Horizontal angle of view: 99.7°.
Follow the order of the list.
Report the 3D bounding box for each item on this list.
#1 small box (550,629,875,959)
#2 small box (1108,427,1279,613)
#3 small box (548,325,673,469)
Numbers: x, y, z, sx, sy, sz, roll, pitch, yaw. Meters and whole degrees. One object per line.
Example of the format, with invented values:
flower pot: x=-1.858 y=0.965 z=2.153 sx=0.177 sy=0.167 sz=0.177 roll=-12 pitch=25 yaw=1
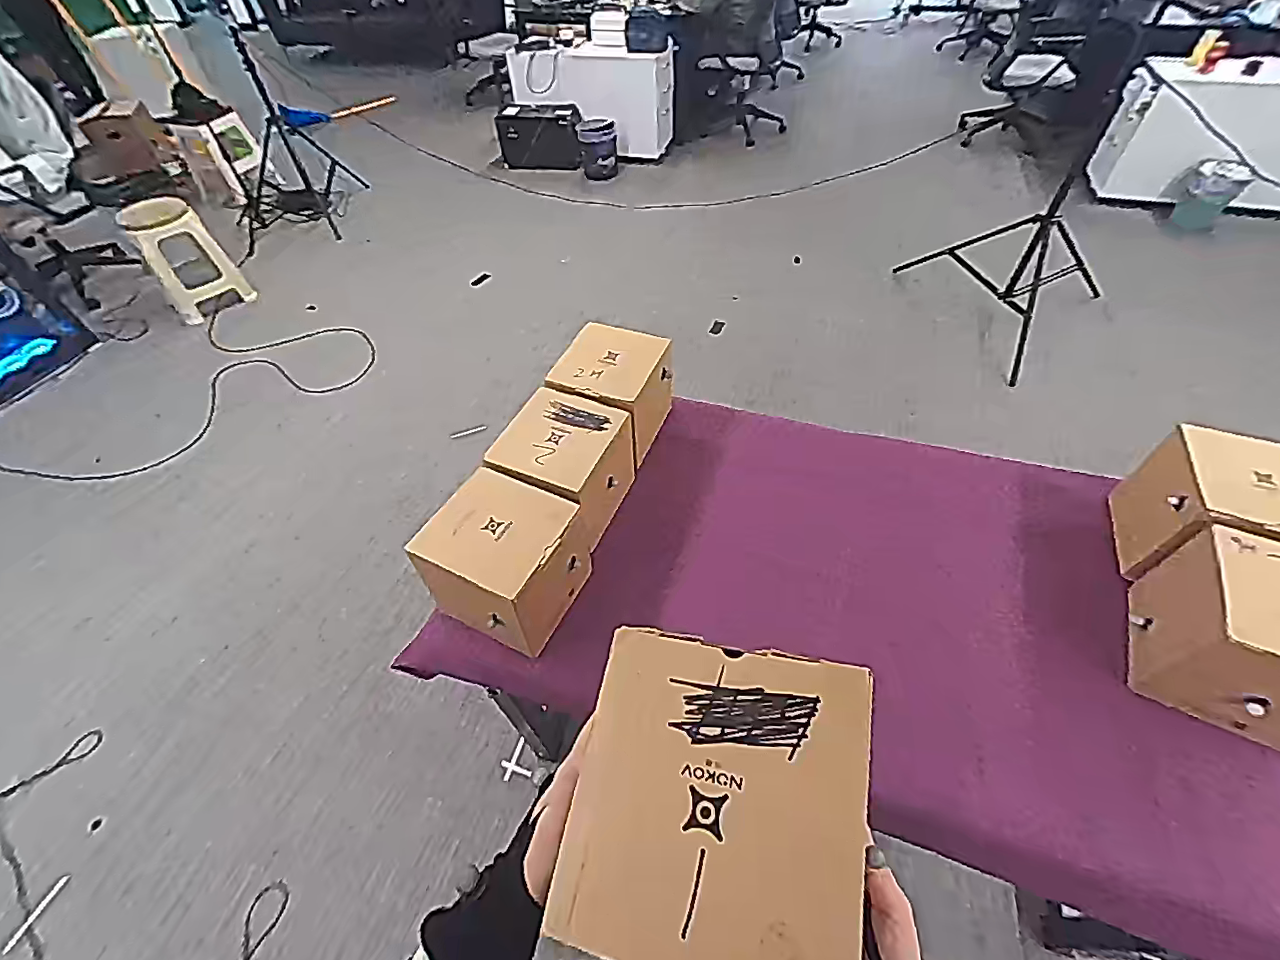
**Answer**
small box: x=0.065 y=0.225 z=0.378 sx=0.168 sy=0.176 sz=0.179 roll=4 pitch=60 yaw=21
small box: x=0.821 y=0.058 z=0.777 sx=0.168 sy=0.176 sz=0.179 roll=17 pitch=52 yaw=15
small box: x=-0.047 y=-0.152 z=0.993 sx=0.168 sy=0.176 sz=0.179 roll=17 pitch=54 yaw=16
